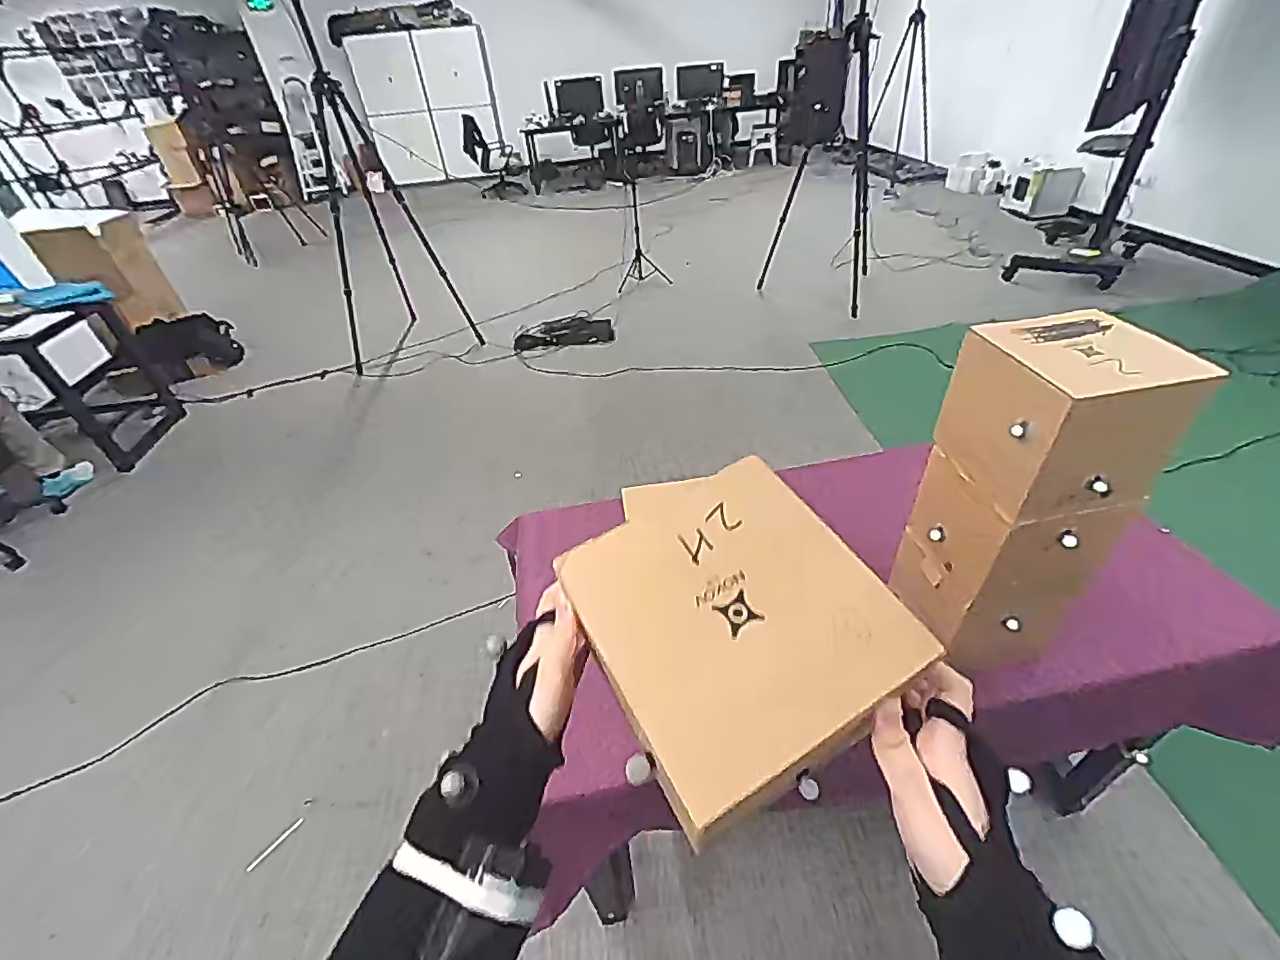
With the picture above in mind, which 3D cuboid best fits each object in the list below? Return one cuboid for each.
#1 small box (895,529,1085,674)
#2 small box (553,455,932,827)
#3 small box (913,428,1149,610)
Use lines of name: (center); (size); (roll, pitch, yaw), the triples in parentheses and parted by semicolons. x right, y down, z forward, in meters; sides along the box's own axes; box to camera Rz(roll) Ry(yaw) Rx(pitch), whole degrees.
small box: (0.523, 0.180, 0.845); (0.179, 0.176, 0.168); (-8, 39, -3)
small box: (0.060, 0.120, 0.390); (0.168, 0.176, 0.179); (-26, 54, -14)
small box: (0.512, 0.054, 0.743); (0.179, 0.176, 0.168); (-10, 39, -3)
